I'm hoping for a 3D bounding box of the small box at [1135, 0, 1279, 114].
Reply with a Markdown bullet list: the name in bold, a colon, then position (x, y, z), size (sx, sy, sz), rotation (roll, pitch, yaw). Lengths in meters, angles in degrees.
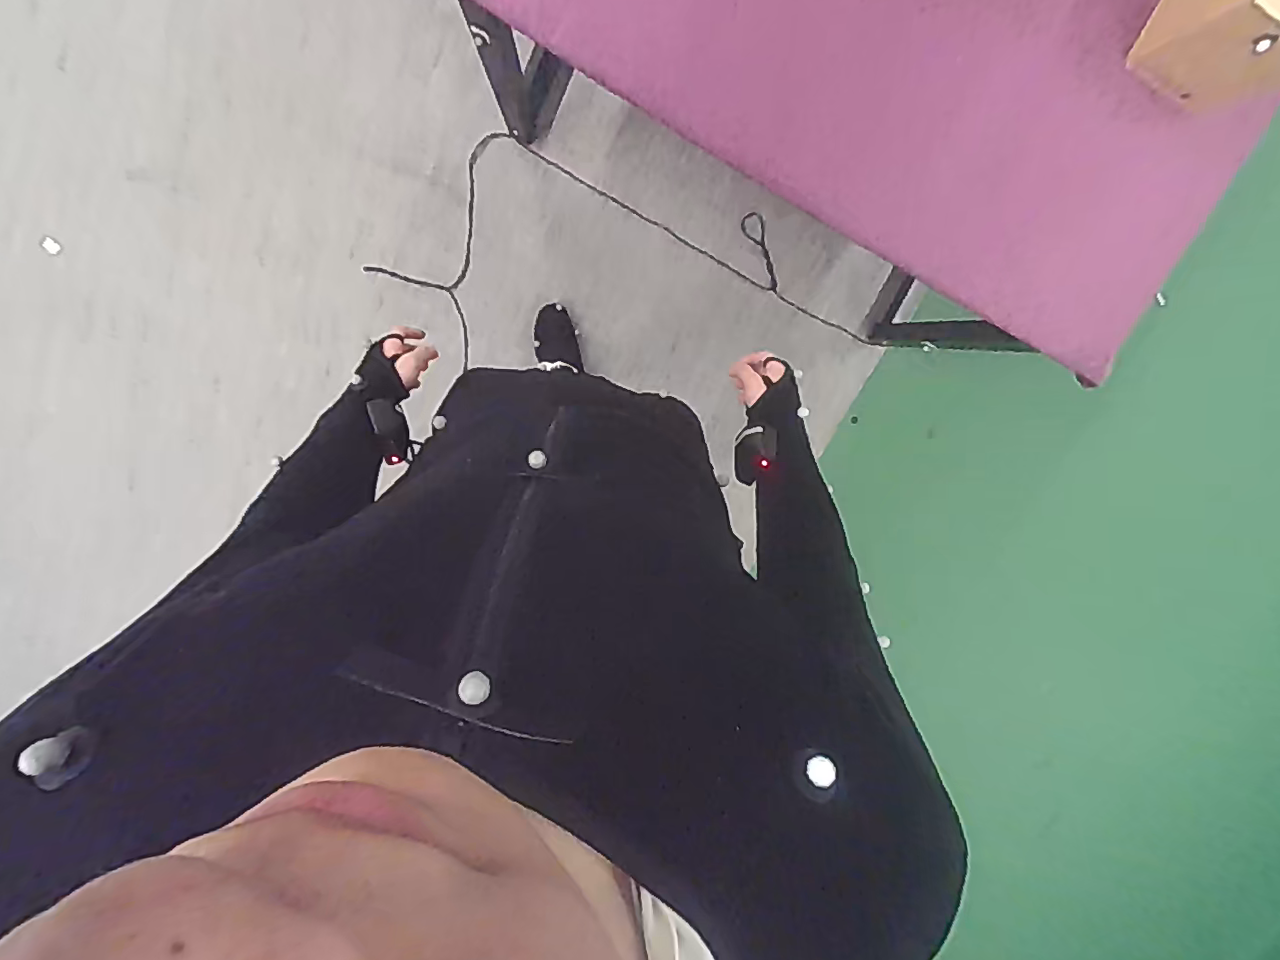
- **small box**: position (0.828, -0.639, 0.714), size (0.168, 0.176, 0.179), rotation (23, 101, -11)
